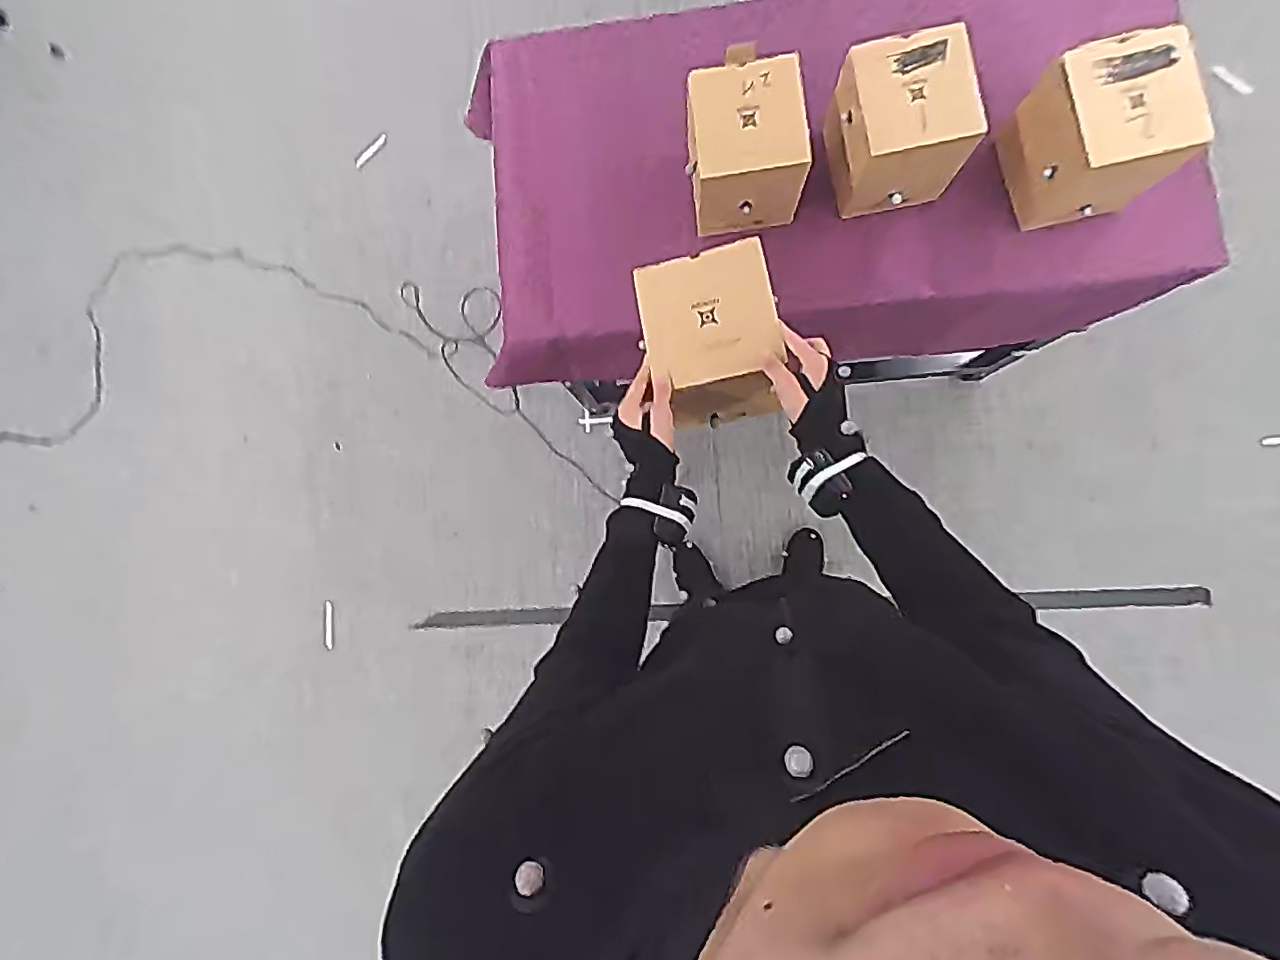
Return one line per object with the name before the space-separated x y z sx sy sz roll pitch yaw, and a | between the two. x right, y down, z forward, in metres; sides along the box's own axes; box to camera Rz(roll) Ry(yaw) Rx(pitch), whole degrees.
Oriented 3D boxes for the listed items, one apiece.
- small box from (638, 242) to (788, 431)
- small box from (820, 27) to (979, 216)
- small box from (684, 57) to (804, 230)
small box | 0.101 -0.187 0.750 0.168 0.176 0.179 -11 74 10
small box | 0.404 -0.565 0.873 0.168 0.176 0.179 -10 84 4
small box | 0.164 -0.537 0.894 0.168 0.176 0.179 -6 84 5
